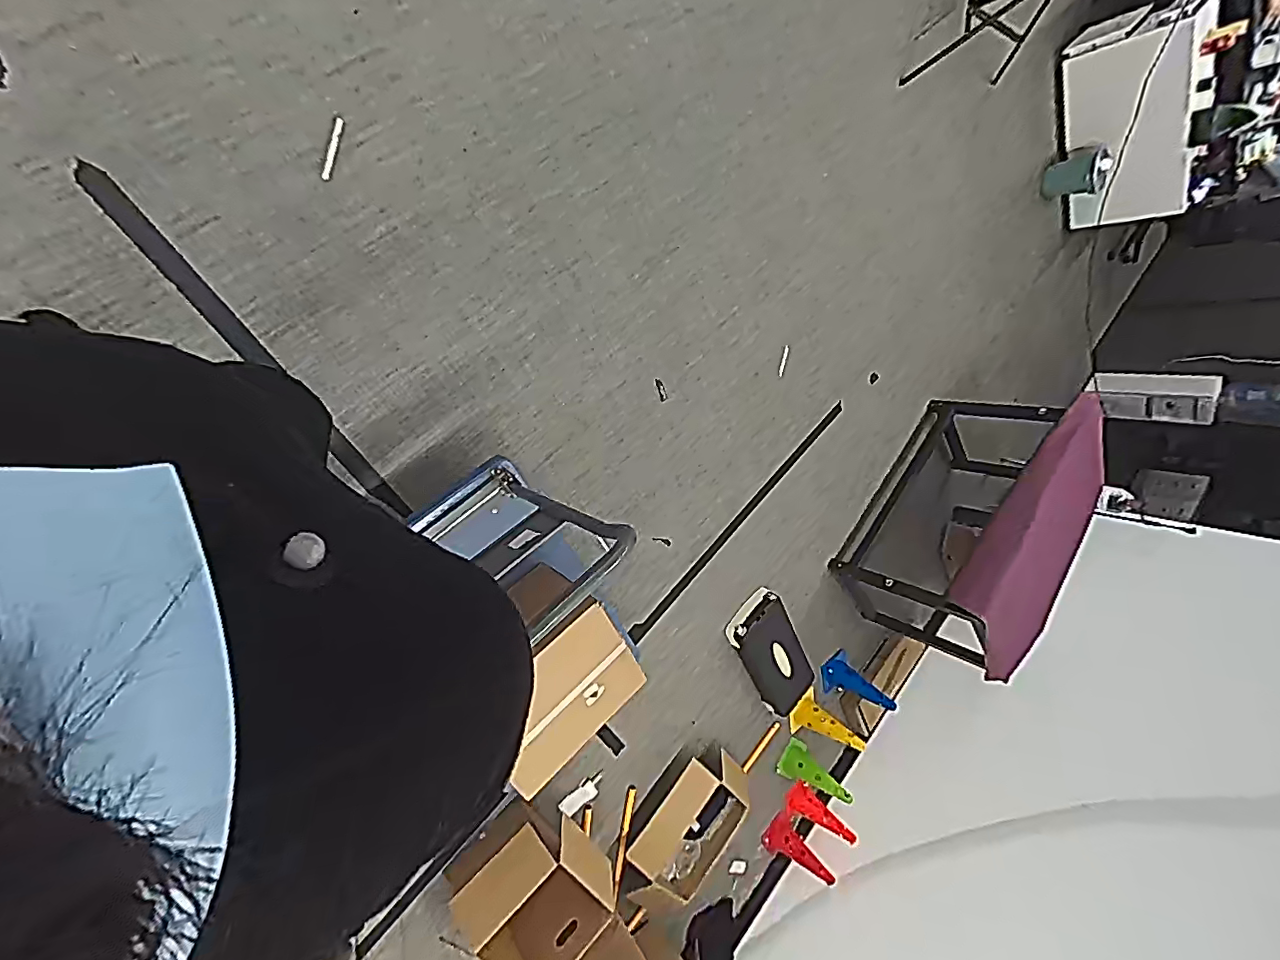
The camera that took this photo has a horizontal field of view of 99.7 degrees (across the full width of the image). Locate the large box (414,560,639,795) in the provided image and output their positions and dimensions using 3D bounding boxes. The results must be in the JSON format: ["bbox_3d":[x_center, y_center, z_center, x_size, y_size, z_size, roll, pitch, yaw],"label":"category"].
[{"bbox_3d":[-0.286,0.478,1.384,0.408,0.320,0.320,-40,122,-24],"label":"large box"}]
